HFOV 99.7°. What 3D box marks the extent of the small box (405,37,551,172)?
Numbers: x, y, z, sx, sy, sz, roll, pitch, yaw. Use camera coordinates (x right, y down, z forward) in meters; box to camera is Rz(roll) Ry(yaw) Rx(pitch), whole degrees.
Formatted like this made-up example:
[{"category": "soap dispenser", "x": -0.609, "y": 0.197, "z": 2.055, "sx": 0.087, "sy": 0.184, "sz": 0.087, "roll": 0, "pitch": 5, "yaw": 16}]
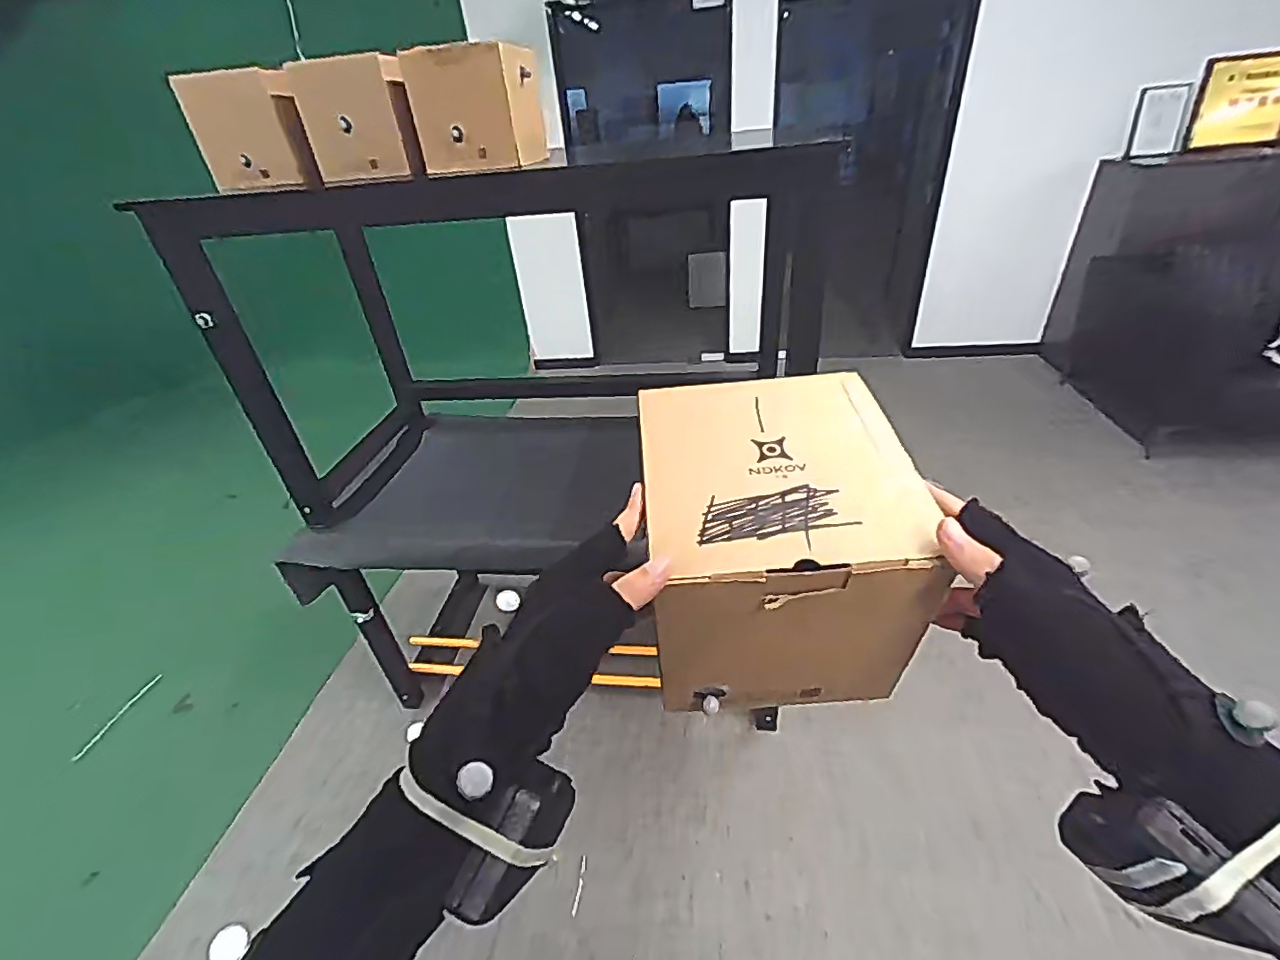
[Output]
[{"category": "small box", "x": -0.256, "y": -0.621, "z": 0.906, "sx": 0.168, "sy": 0.176, "sz": 0.179, "roll": 1, "pitch": 35, "yaw": 9}]
